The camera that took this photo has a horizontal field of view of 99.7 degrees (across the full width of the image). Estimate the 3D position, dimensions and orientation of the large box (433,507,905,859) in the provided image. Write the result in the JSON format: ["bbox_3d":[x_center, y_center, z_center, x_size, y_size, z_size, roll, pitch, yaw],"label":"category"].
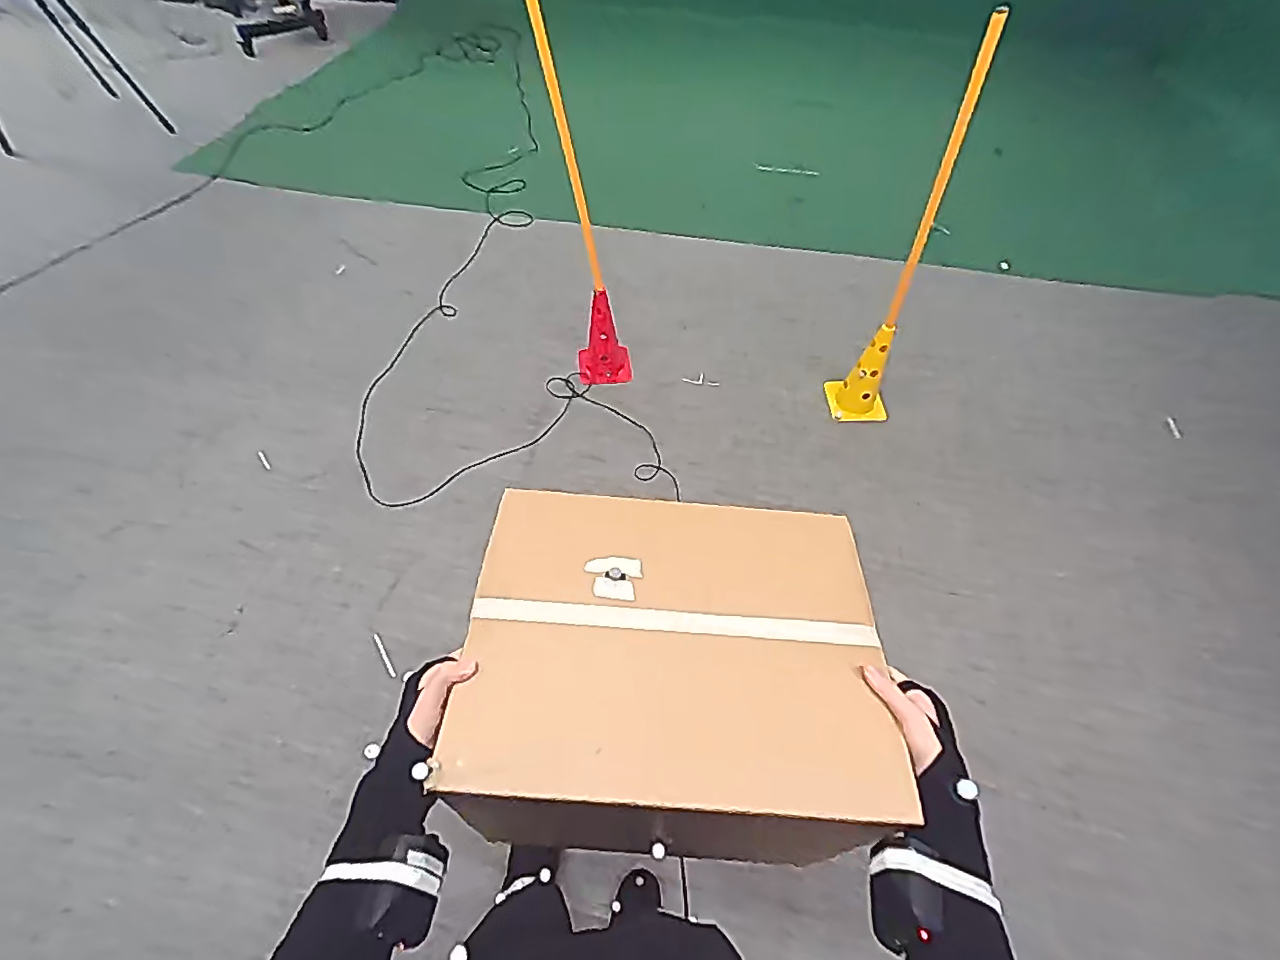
[{"bbox_3d":[0.026,0.254,0.657,0.408,0.320,0.320,4,48,0],"label":"large box"}]
